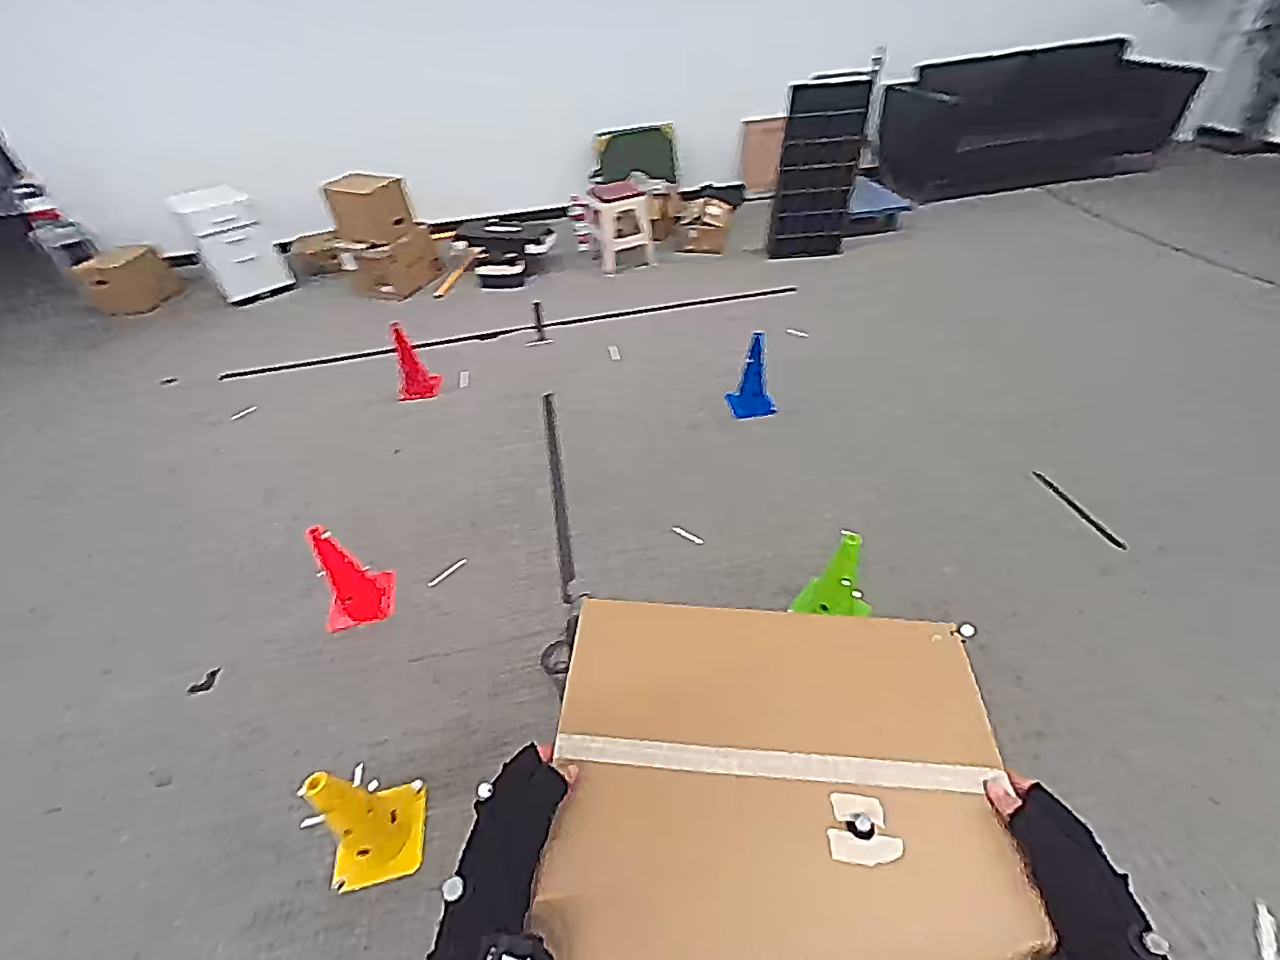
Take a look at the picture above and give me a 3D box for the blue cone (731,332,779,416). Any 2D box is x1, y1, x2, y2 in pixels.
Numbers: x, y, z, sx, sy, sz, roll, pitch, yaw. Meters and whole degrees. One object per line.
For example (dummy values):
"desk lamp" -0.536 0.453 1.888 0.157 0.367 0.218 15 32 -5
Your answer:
"blue cone" 0.525 -0.483 2.410 0.192 0.380 0.193 -7 44 -4

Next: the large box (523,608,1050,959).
"large box" 0.118 0.364 0.607 0.408 0.320 0.320 2 48 4

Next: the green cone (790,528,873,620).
"green cone" 0.593 0.279 1.575 0.200 0.368 0.202 30 52 30

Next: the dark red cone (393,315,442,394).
"dark red cone" -1.124 -0.616 2.640 0.201 0.394 0.202 -6 44 -2

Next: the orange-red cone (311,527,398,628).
"orange-red cone" -0.938 0.279 1.715 0.198 0.360 0.199 -13 45 -7
